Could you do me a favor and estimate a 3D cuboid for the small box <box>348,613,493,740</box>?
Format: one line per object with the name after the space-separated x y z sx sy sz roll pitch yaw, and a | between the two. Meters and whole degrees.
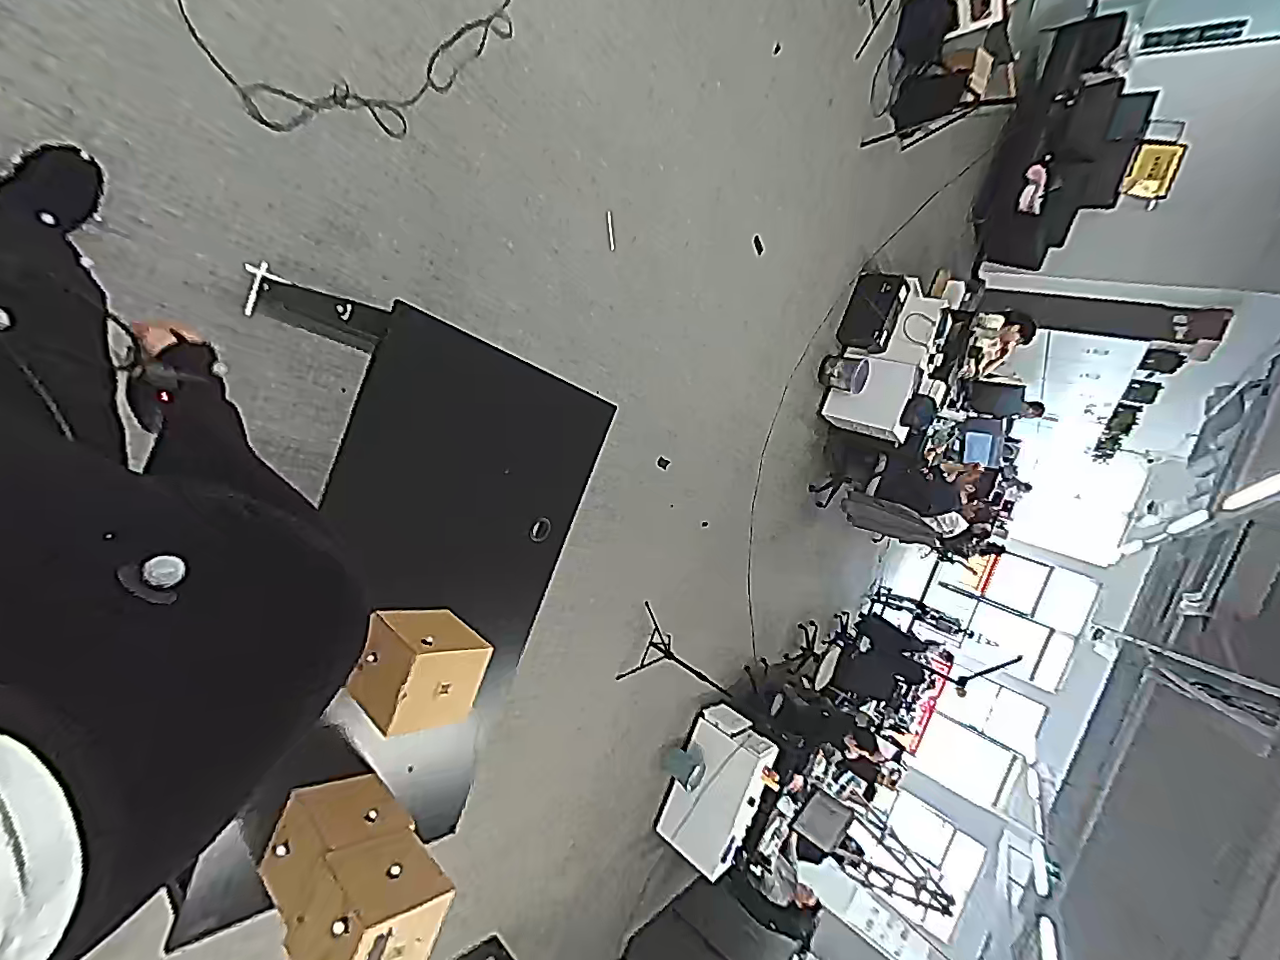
-0.429 0.371 1.059 0.179 0.176 0.168 17 95 -54 | small box

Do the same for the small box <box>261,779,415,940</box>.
-0.581 0.710 1.042 0.179 0.176 0.168 26 86 -54 | small box
